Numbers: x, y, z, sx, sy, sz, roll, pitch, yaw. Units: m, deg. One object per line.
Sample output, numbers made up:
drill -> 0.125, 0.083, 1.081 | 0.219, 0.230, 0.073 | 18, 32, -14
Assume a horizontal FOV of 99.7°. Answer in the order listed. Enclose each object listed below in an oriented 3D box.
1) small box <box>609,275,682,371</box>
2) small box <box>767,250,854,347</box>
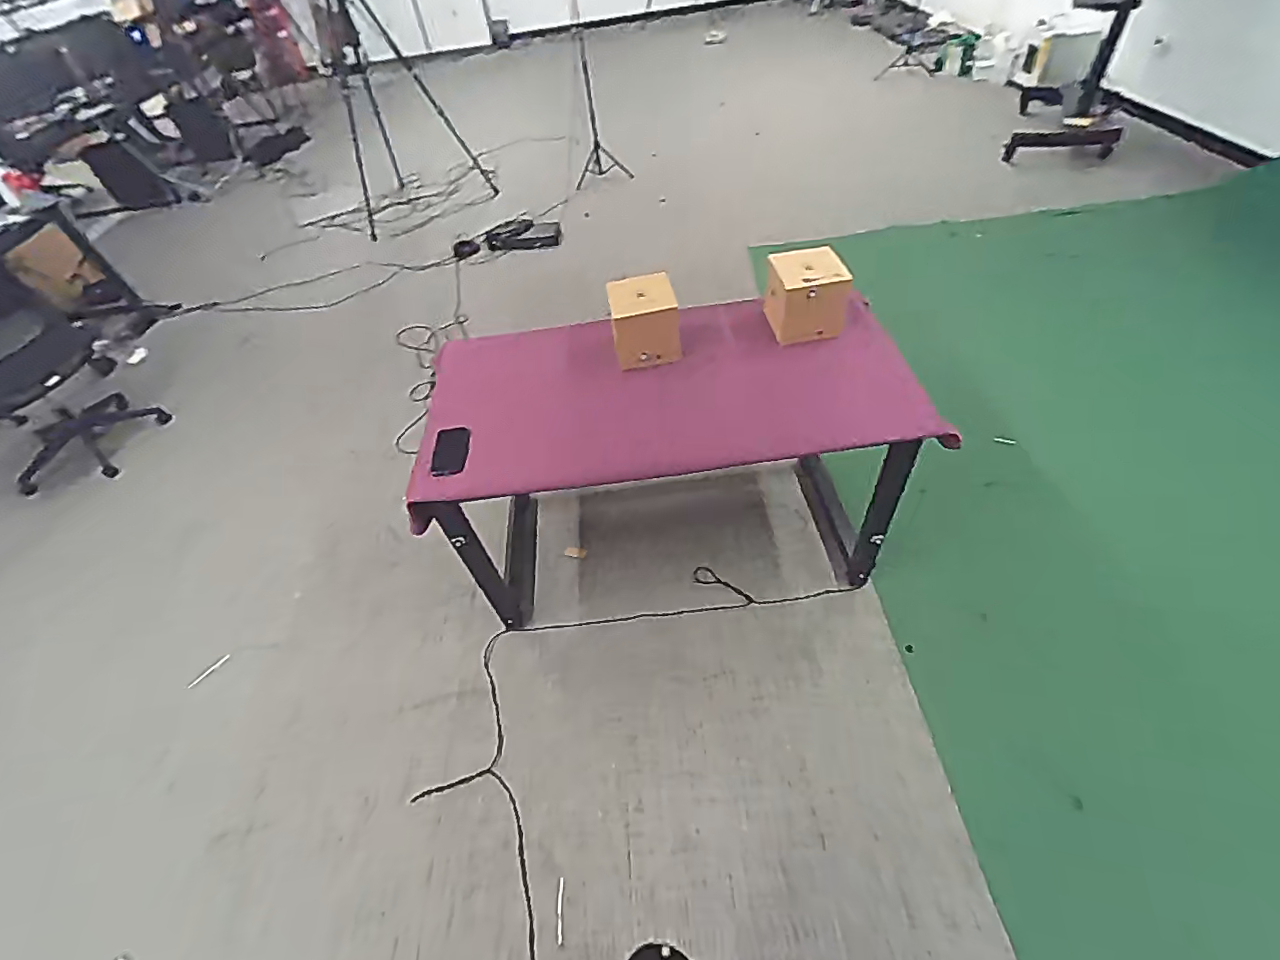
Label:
small box -> 0.016, -0.415, 1.436 | 0.168, 0.176, 0.179 | -10, 49, 0
small box -> 0.441, -0.479, 1.430 | 0.168, 0.176, 0.179 | -9, 48, 1
